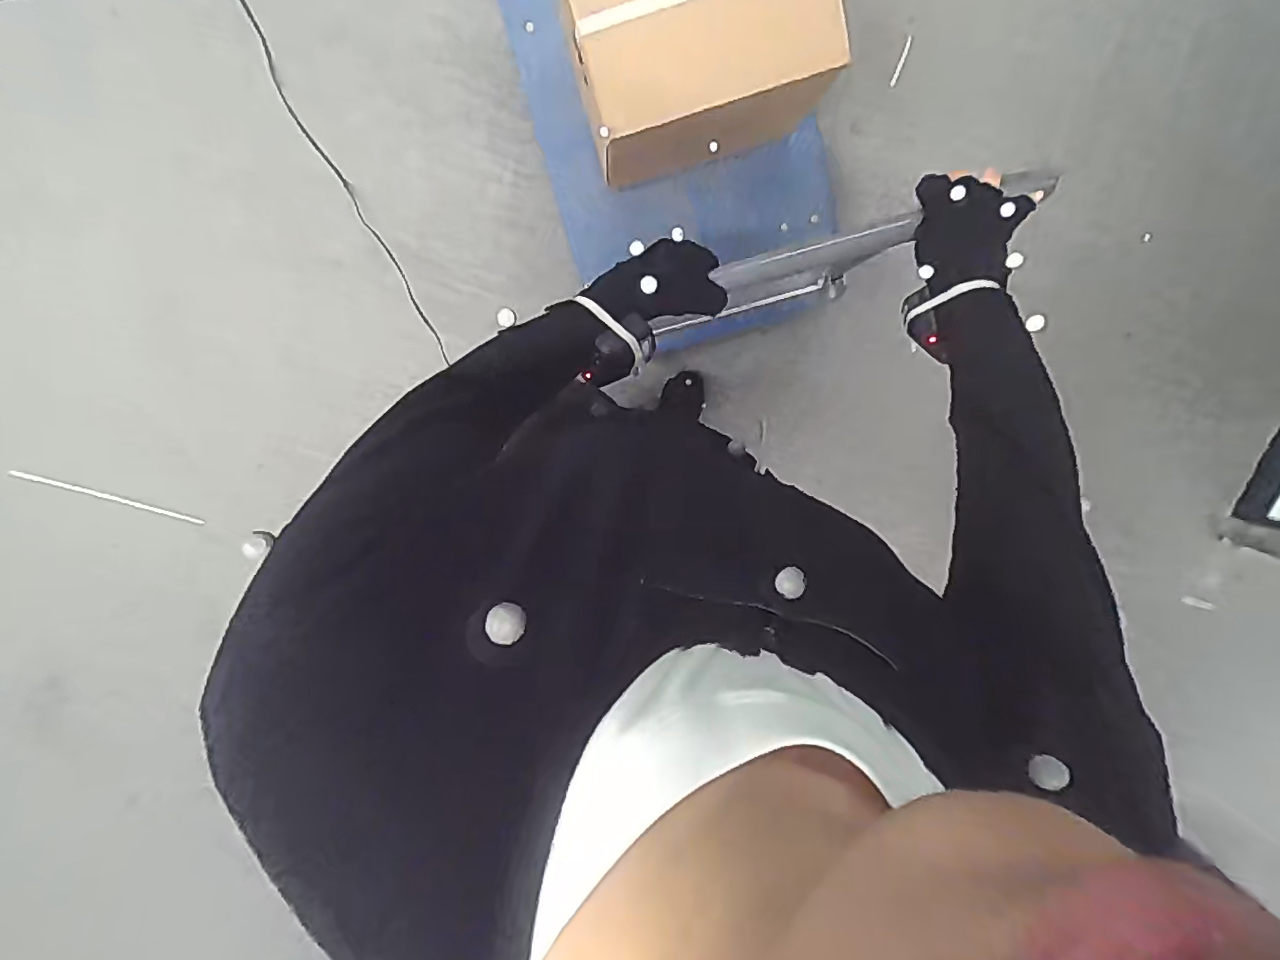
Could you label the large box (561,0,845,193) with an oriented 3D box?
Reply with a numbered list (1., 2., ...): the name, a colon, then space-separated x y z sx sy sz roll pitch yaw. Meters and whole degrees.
1. large box: 0.094 -0.781 0.984 0.408 0.320 0.320 -17 103 2
